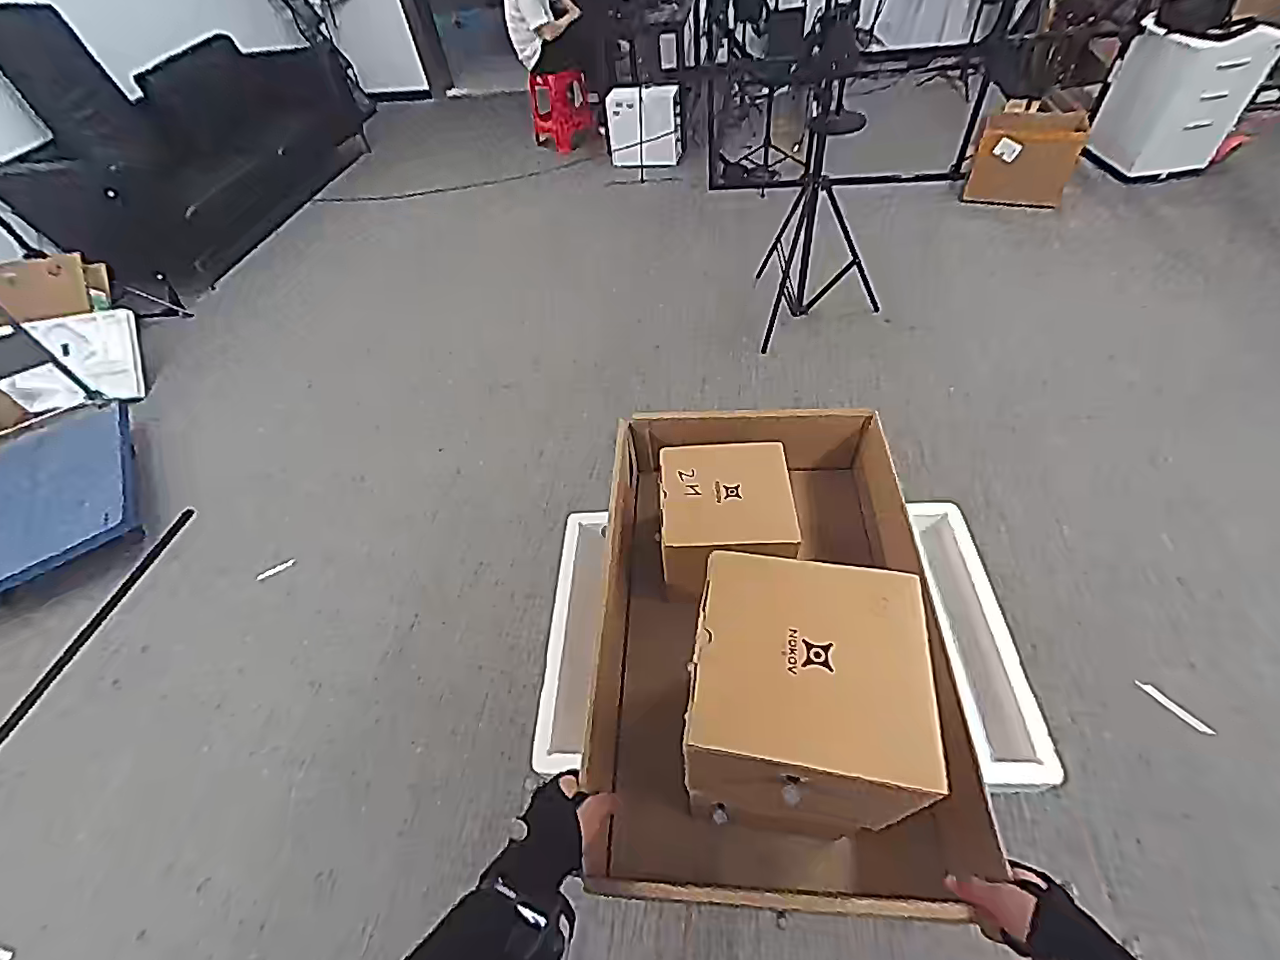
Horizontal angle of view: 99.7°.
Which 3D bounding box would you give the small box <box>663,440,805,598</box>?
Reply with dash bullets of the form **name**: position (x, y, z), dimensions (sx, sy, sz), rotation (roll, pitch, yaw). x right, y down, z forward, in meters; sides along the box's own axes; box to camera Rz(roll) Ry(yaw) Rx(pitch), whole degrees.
- **small box**: position (0.123, 0.060, 0.780), dimensions (0.179, 0.176, 0.168), rotation (-2, 52, 4)
